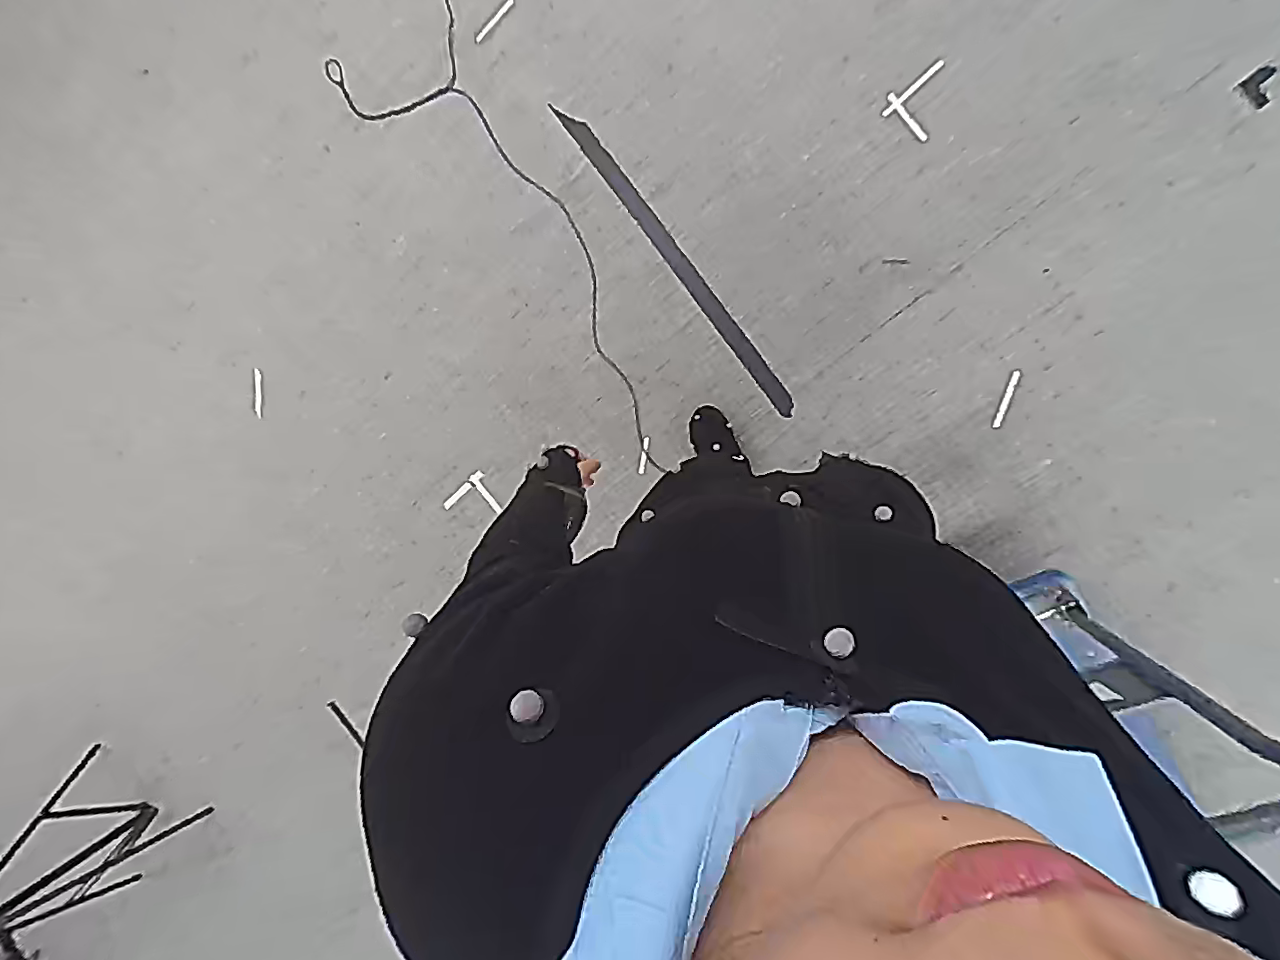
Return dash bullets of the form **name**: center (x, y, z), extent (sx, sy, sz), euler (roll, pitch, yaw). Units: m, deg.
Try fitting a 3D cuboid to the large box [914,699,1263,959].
- **large box**: center (0.868, 0.728, 1.123), extent (0.408, 0.320, 0.320), euler (-28, 92, 15)
